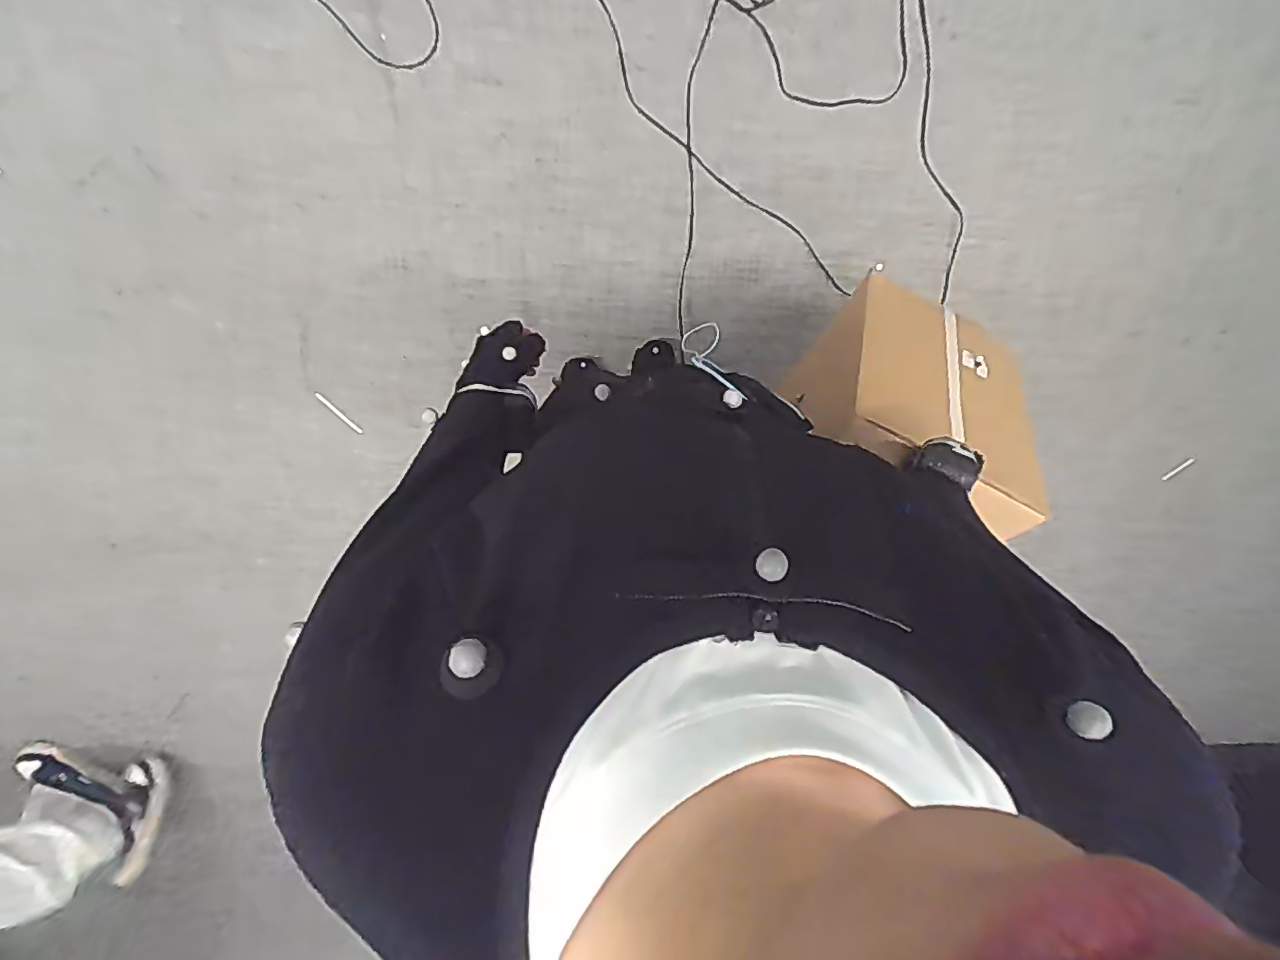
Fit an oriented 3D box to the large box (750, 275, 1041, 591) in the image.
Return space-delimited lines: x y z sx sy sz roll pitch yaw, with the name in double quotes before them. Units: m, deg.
"large box" 0.432 -0.079 0.975 0.320 0.408 0.320 27 142 -5
